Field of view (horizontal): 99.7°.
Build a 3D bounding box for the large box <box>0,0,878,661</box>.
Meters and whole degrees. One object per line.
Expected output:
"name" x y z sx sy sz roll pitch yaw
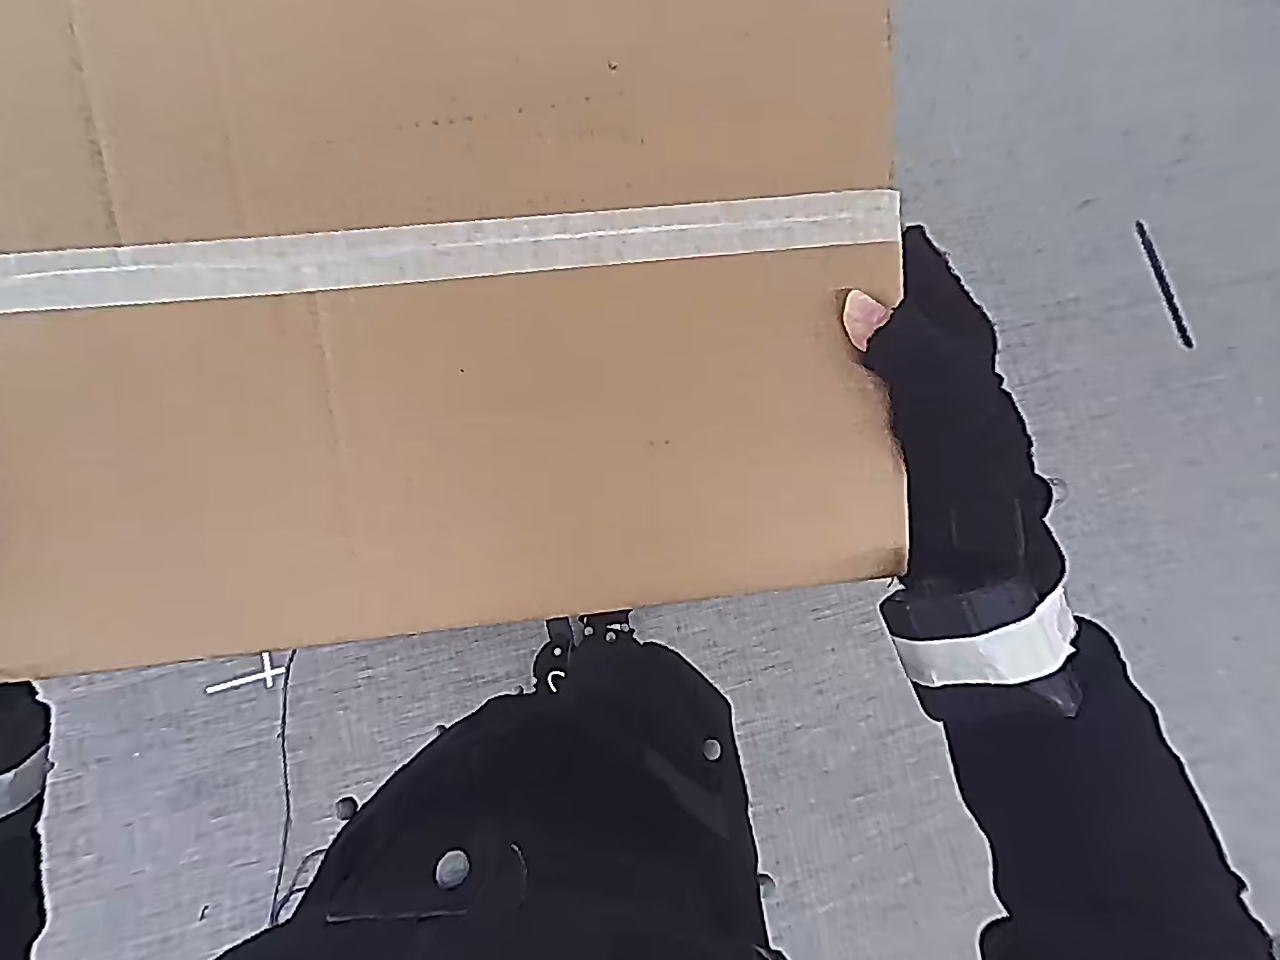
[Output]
"large box" -0.104 -0.112 0.375 0.408 0.320 0.320 -5 98 -4
